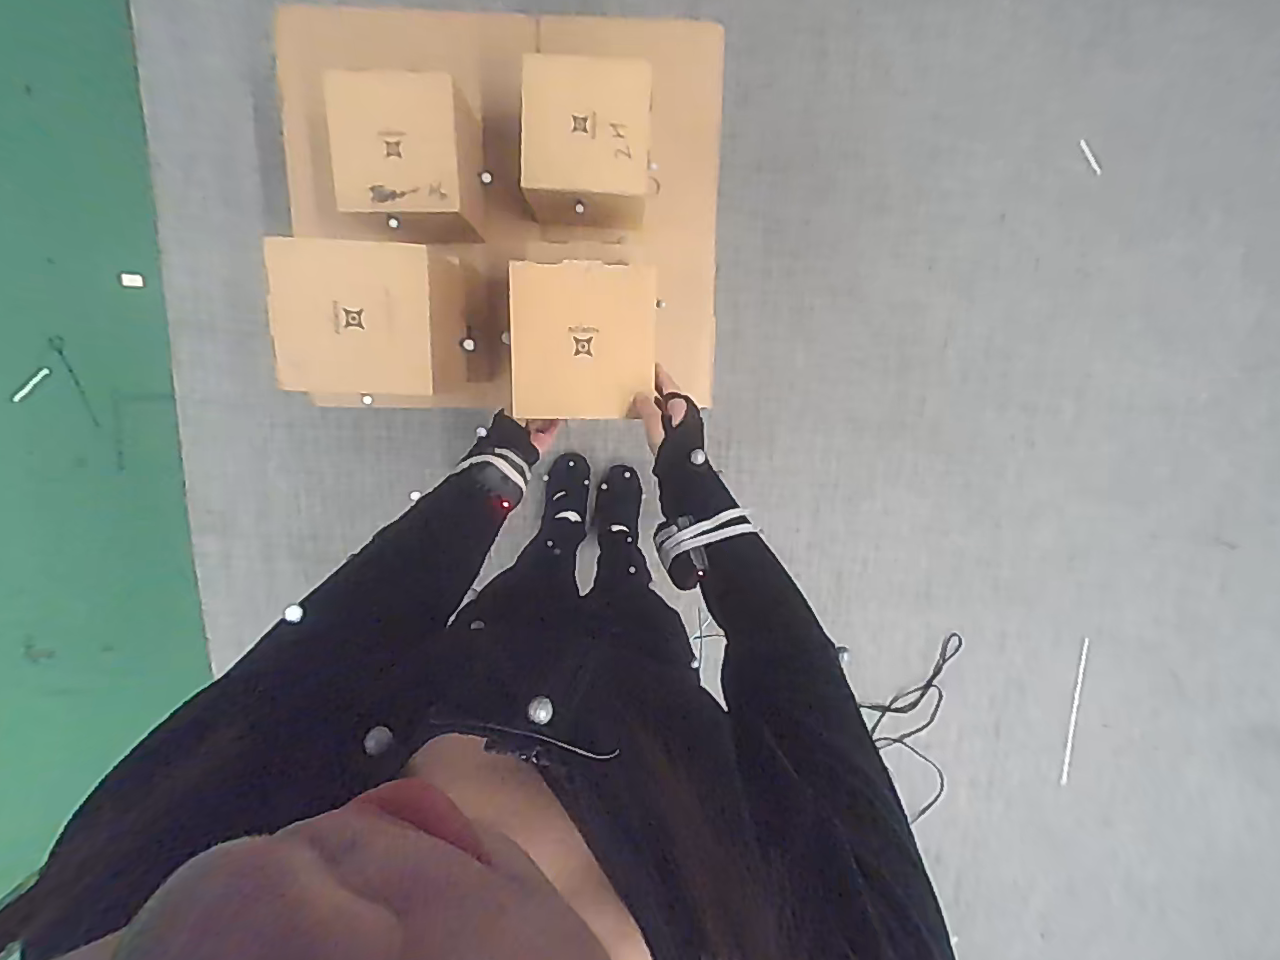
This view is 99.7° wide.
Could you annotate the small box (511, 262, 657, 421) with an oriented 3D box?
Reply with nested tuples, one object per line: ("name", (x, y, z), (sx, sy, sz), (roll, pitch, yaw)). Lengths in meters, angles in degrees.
("small box", (-0.062, -0.167, 0.690), (0.168, 0.176, 0.179), (0, 98, 0))

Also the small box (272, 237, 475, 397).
("small box", (-0.319, -0.194, 0.679), (0.179, 0.176, 0.168), (2, 101, -3))

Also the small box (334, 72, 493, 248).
("small box", (-0.320, -0.458, 0.796), (0.168, 0.176, 0.179), (0, 99, 0))
